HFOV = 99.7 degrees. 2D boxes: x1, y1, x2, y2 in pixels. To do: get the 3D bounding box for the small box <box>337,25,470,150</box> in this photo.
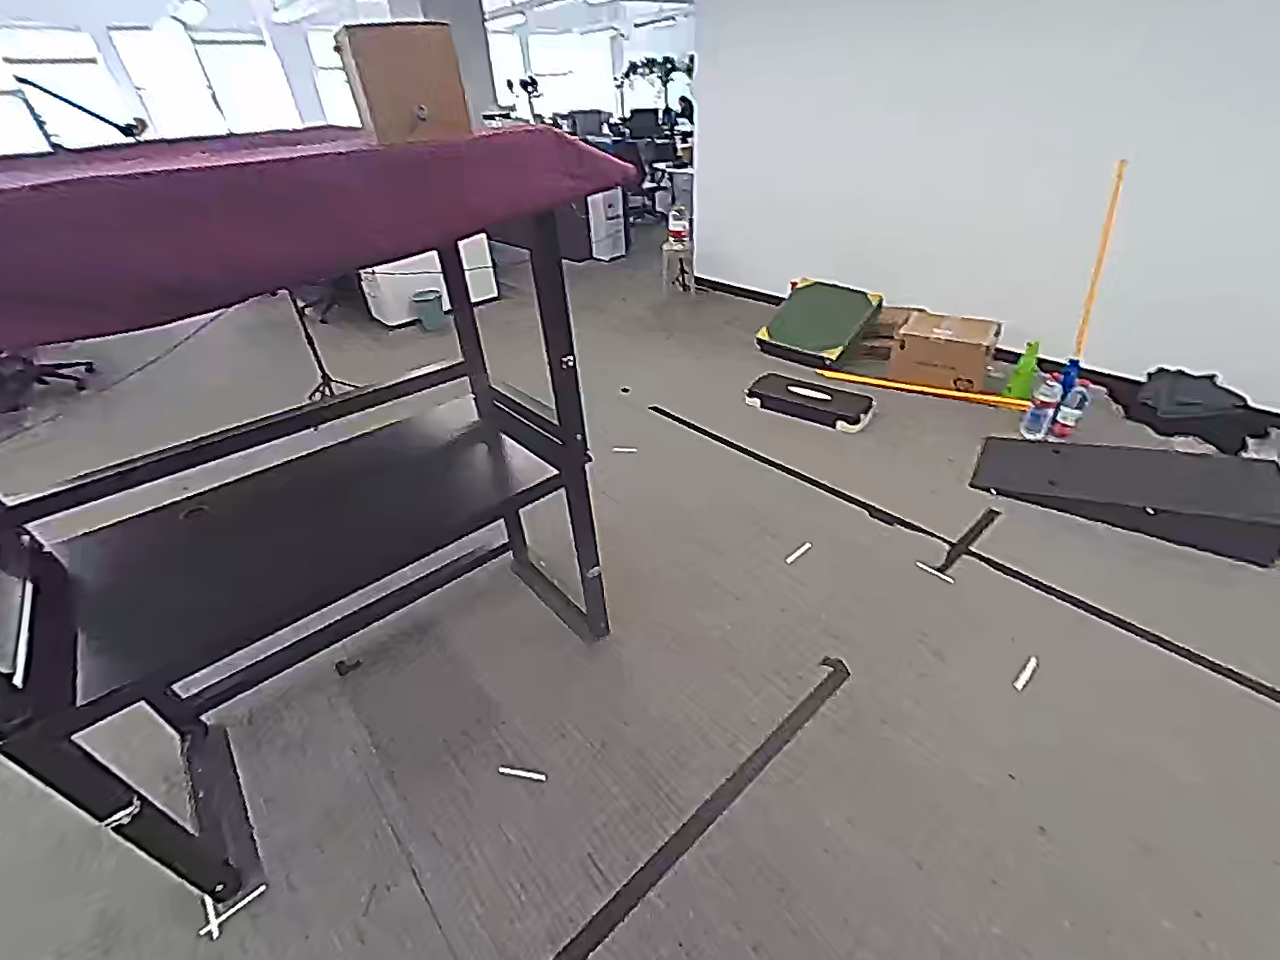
[{"bbox_3d":[-0.425,-0.714,0.991,0.179,0.176,0.168,-22,38,-23],"label":"small box"}]
